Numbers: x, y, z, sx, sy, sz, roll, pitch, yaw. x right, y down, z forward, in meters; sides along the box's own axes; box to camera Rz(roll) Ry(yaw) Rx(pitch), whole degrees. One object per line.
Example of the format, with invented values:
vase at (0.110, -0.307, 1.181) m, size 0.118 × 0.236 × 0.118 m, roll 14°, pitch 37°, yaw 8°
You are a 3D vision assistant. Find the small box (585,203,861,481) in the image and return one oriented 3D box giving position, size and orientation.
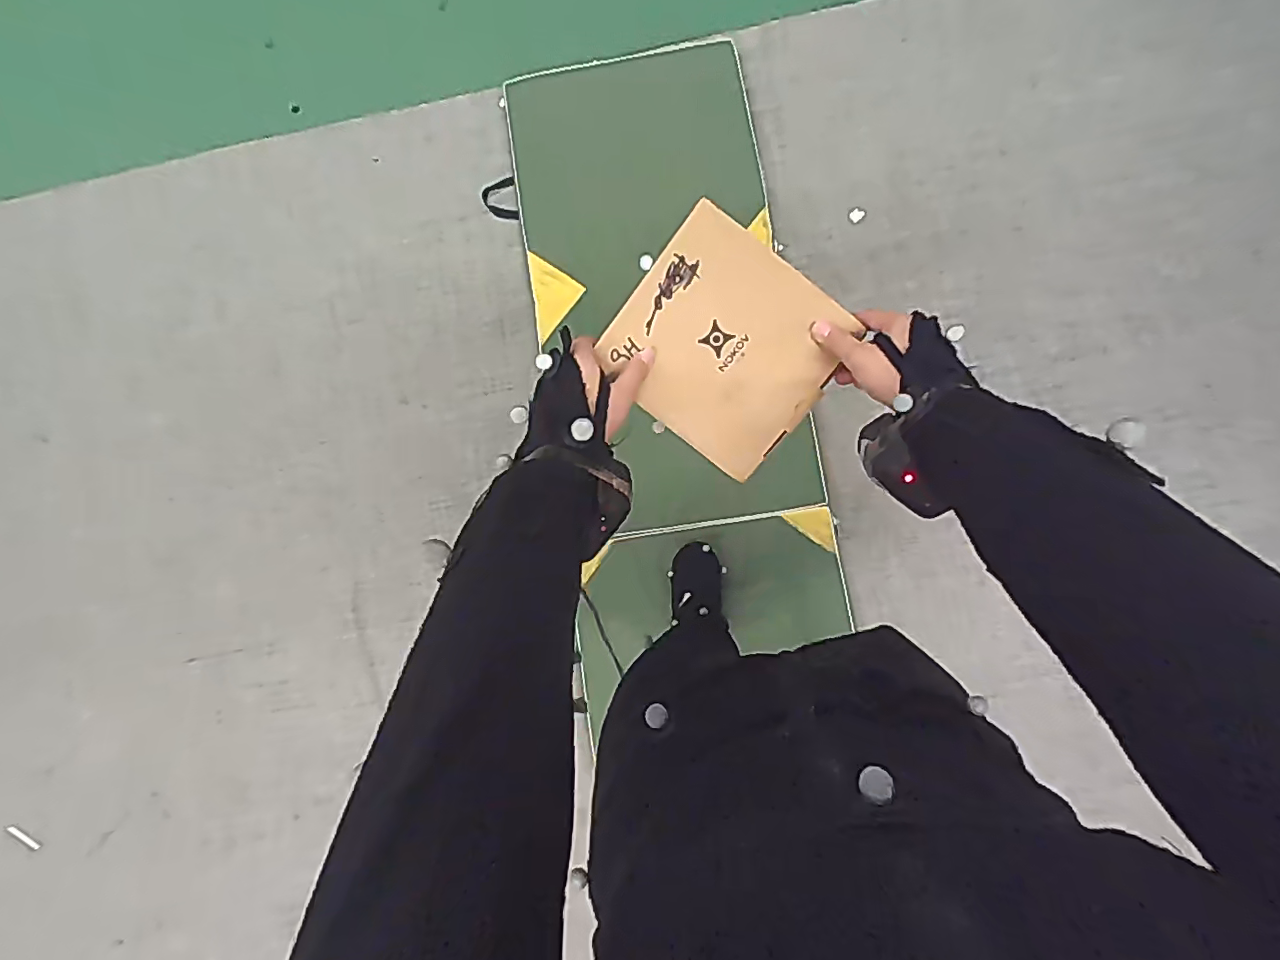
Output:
small box at (0.072, -0.125, 0.533) m, size 0.179 × 0.176 × 0.168 m, roll 38°, pitch 98°, yaw -4°
